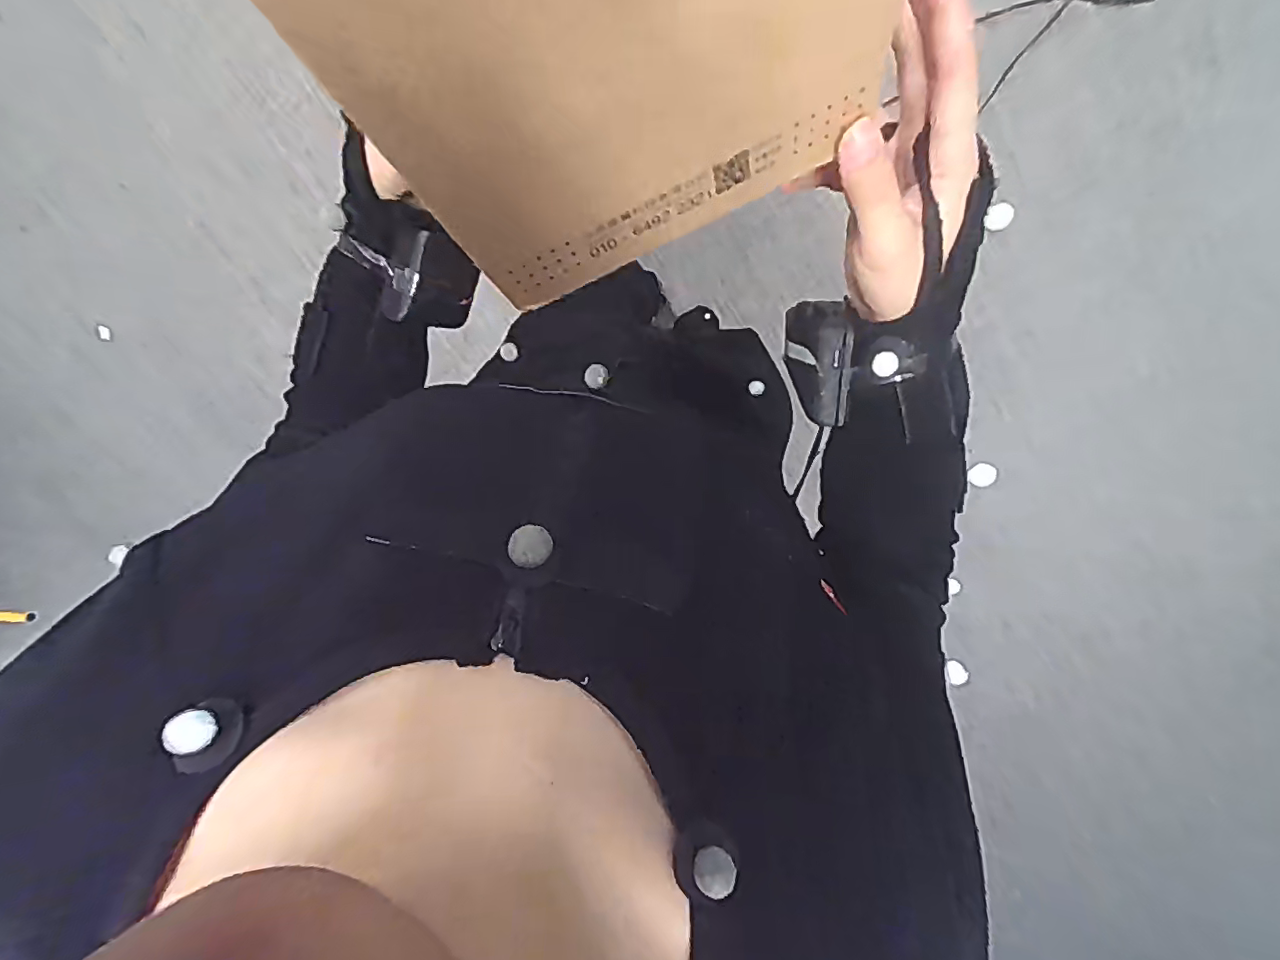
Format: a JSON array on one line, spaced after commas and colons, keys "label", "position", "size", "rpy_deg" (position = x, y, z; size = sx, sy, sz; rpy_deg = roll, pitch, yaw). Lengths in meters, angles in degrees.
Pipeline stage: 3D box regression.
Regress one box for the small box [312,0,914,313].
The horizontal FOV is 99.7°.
[{"label": "small box", "position": [-0.019, -0.197, 0.191], "size": [0.168, 0.176, 0.179], "rpy_deg": [-25, 72, 8]}]
